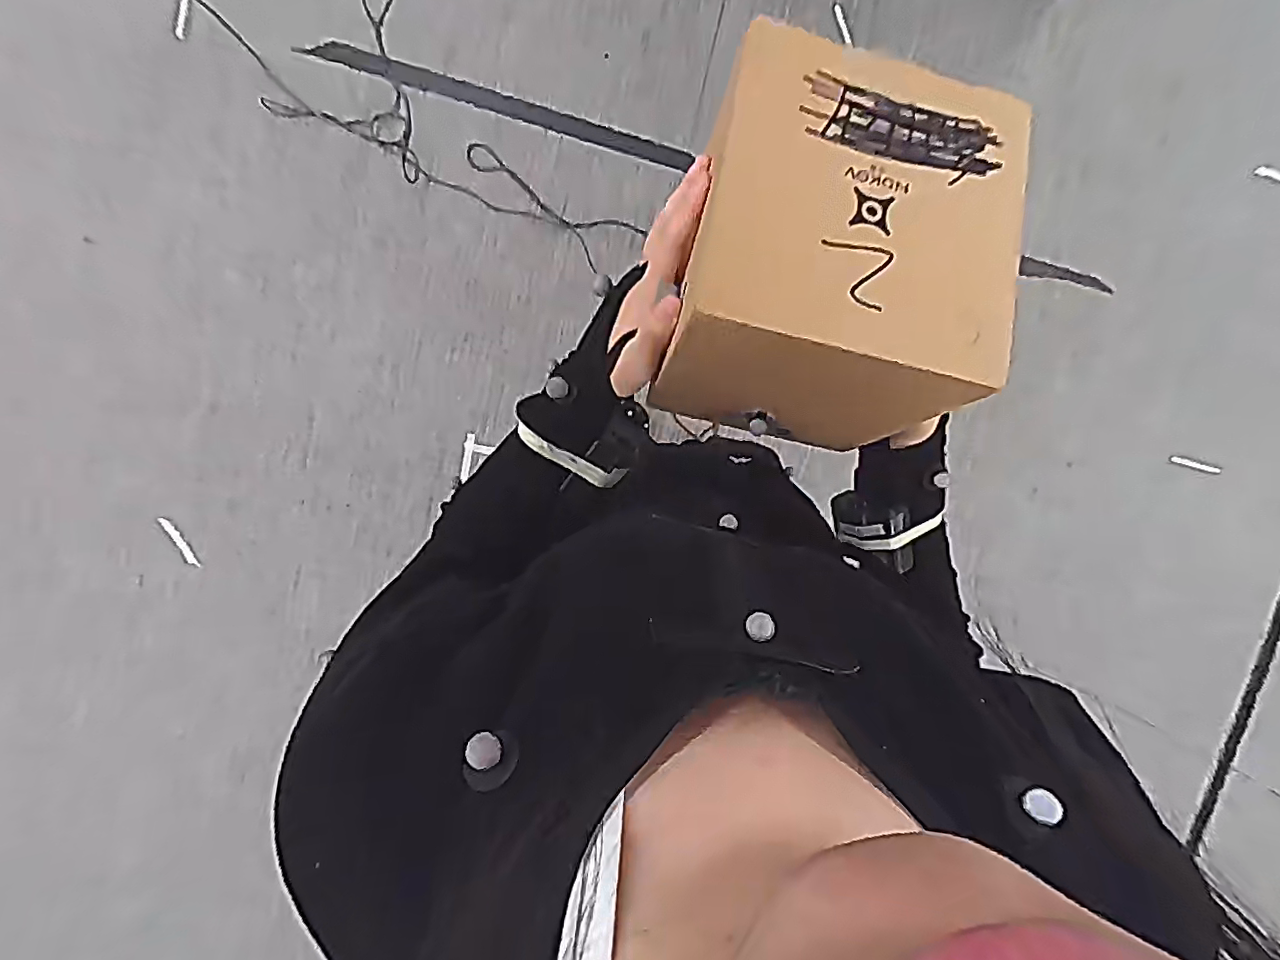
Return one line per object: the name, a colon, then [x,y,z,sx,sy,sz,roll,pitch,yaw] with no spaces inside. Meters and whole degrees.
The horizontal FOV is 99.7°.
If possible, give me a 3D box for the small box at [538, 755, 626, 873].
small box: [-0.135,0.797,1.306,0.179,0.176,0.168,11,97,-4]
